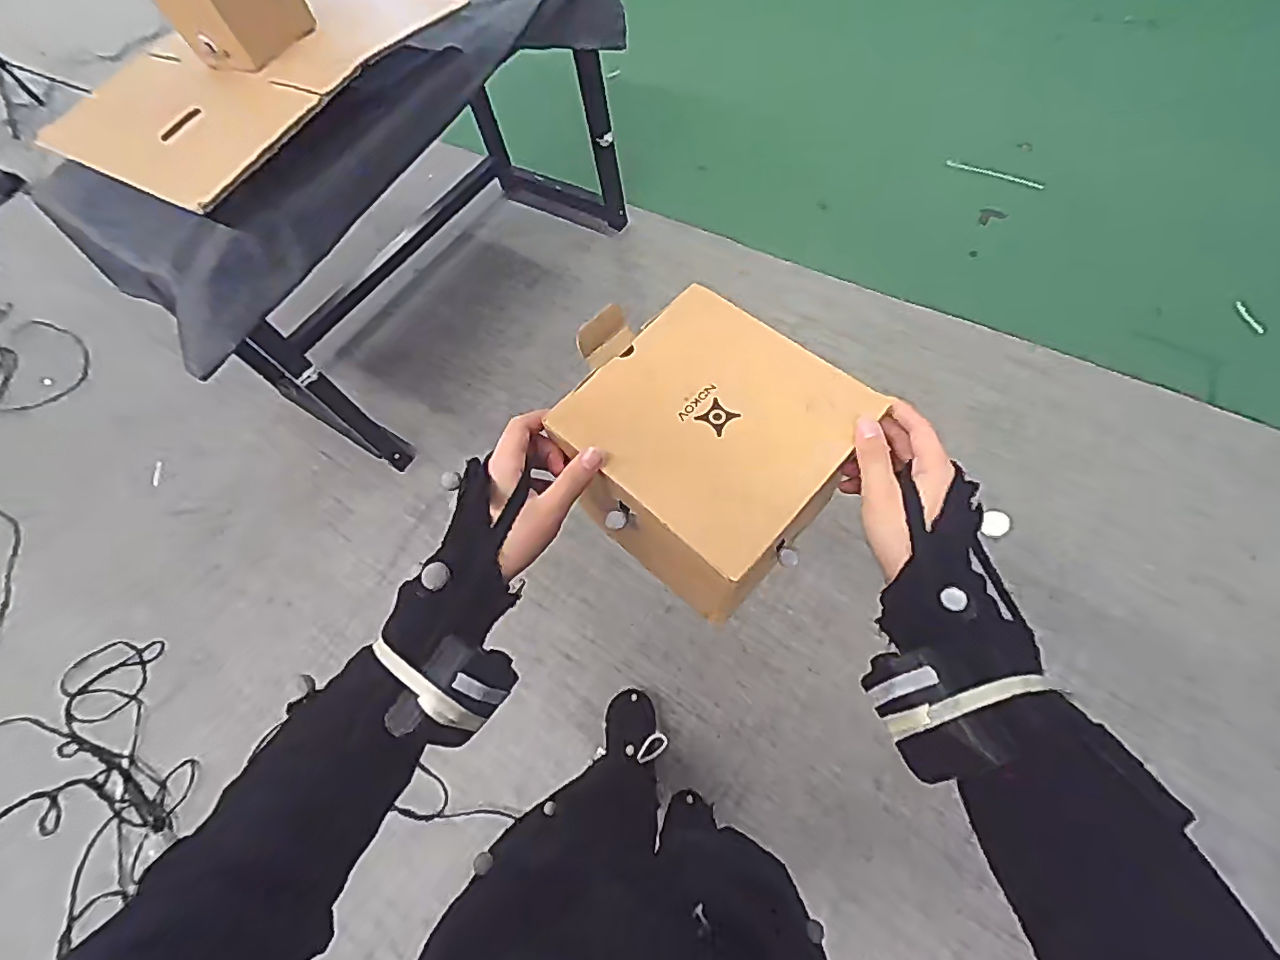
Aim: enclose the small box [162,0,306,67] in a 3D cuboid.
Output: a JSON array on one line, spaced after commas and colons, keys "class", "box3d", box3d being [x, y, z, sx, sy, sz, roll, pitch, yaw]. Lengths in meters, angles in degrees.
[{"class": "small box", "box3d": [-0.758, -0.900, 0.989, 0.168, 0.176, 0.179, 19, 67, 19]}]
